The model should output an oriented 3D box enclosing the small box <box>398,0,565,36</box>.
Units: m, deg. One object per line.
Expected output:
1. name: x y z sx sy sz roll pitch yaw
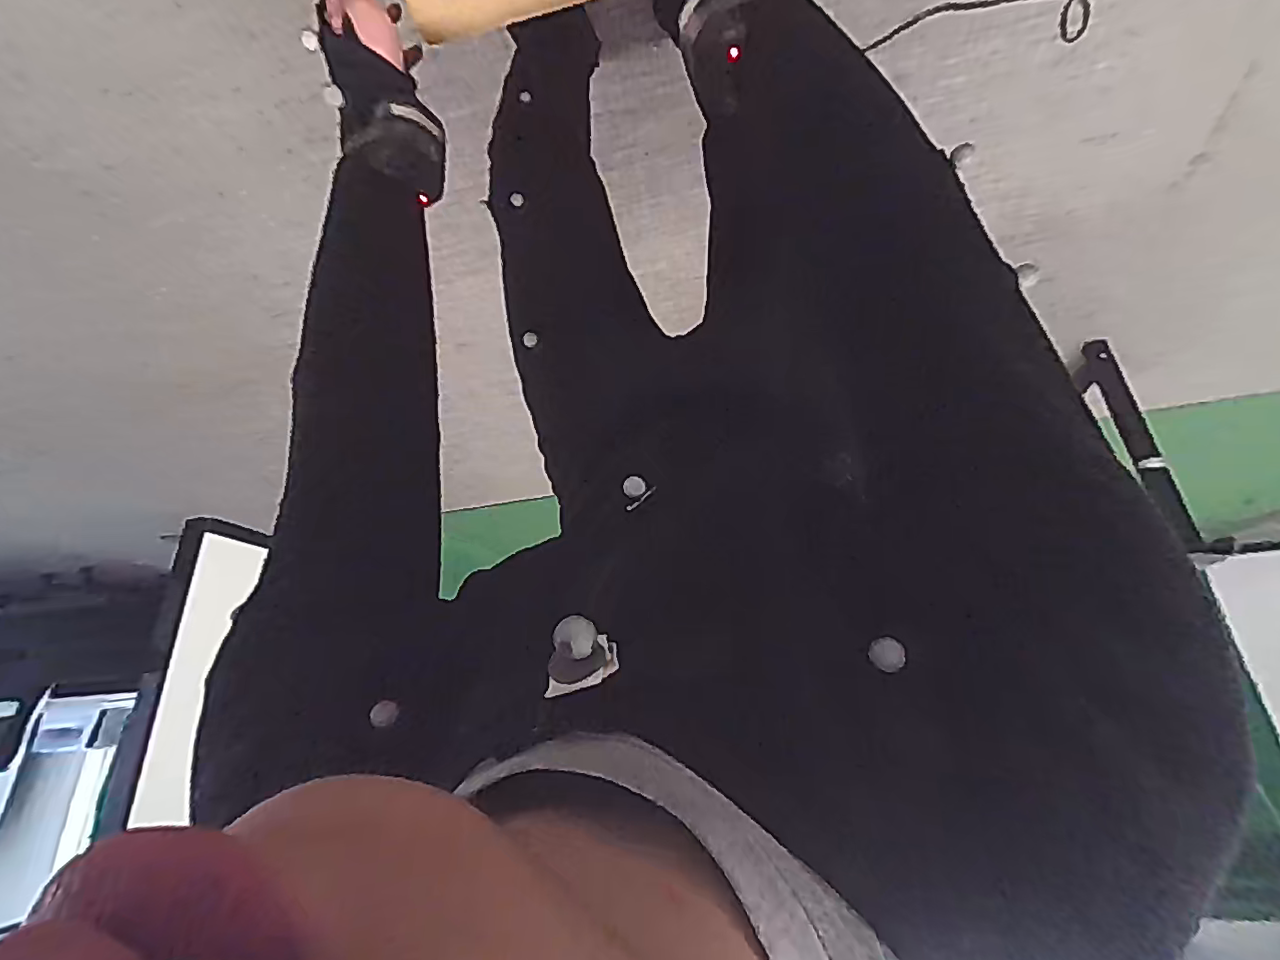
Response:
1. small box: -0.121 -0.485 0.396 0.179 0.176 0.168 -5 159 12
